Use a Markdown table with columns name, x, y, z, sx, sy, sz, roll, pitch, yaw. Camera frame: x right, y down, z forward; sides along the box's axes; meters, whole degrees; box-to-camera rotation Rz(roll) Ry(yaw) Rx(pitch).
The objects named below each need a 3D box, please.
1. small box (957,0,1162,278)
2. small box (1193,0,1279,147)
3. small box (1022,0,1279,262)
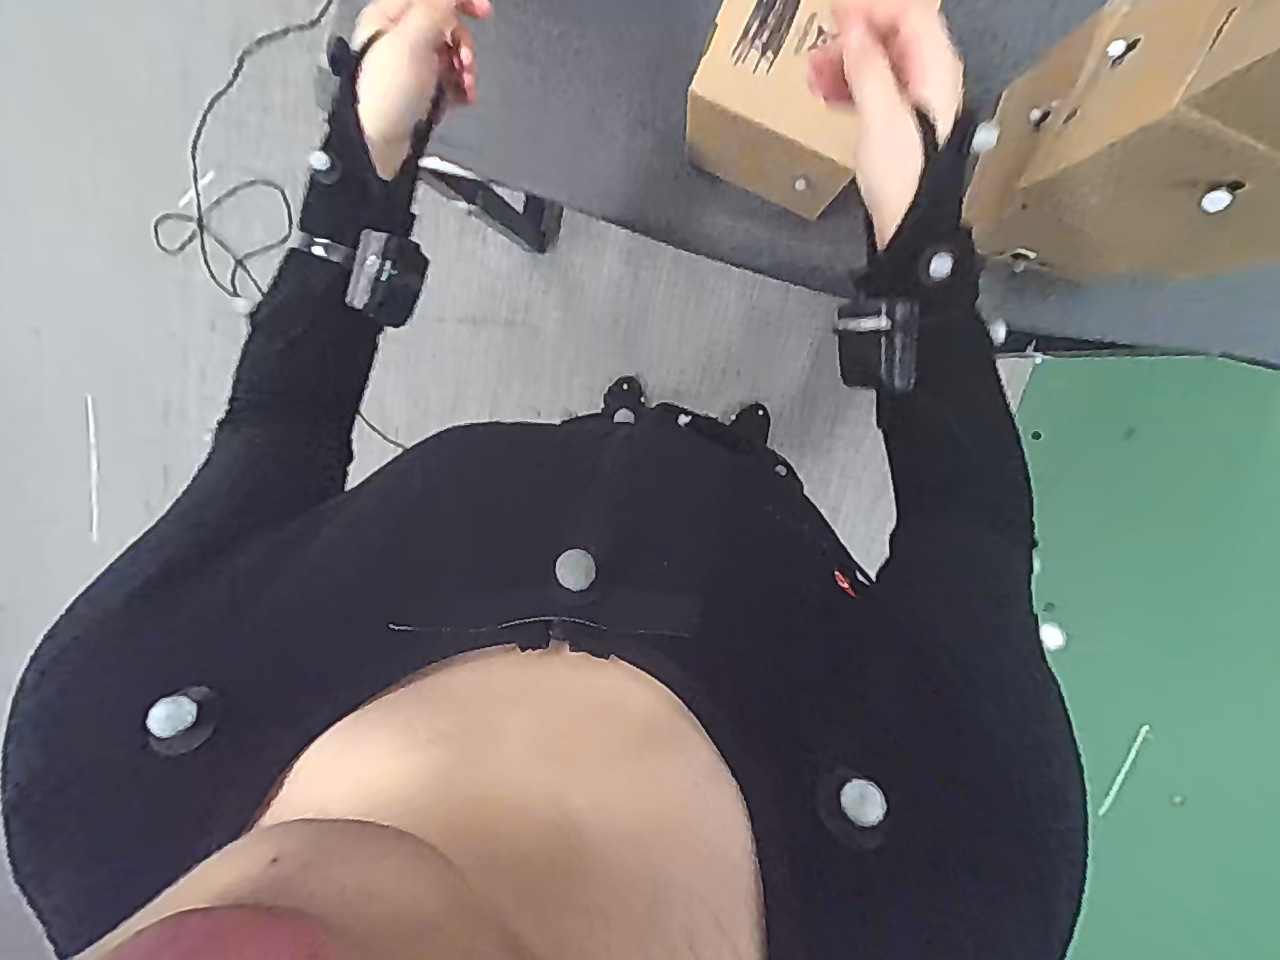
| name | x | y | z | sx | sy | sz | roll | pitch | yaw |
| --- | --- | --- | --- | --- | --- | --- | --- | --- | --- |
| small box | 0.462 | -0.324 | 0.549 | 0.168 | 0.176 | 0.179 | 16 | 103 | 3 |
| small box | 0.432 | -0.246 | 0.233 | 0.179 | 0.176 | 0.168 | 28 | 102 | 0 |
| small box | 0.443 | -0.278 | 0.395 | 0.179 | 0.176 | 0.168 | 26 | 102 | 0 |
